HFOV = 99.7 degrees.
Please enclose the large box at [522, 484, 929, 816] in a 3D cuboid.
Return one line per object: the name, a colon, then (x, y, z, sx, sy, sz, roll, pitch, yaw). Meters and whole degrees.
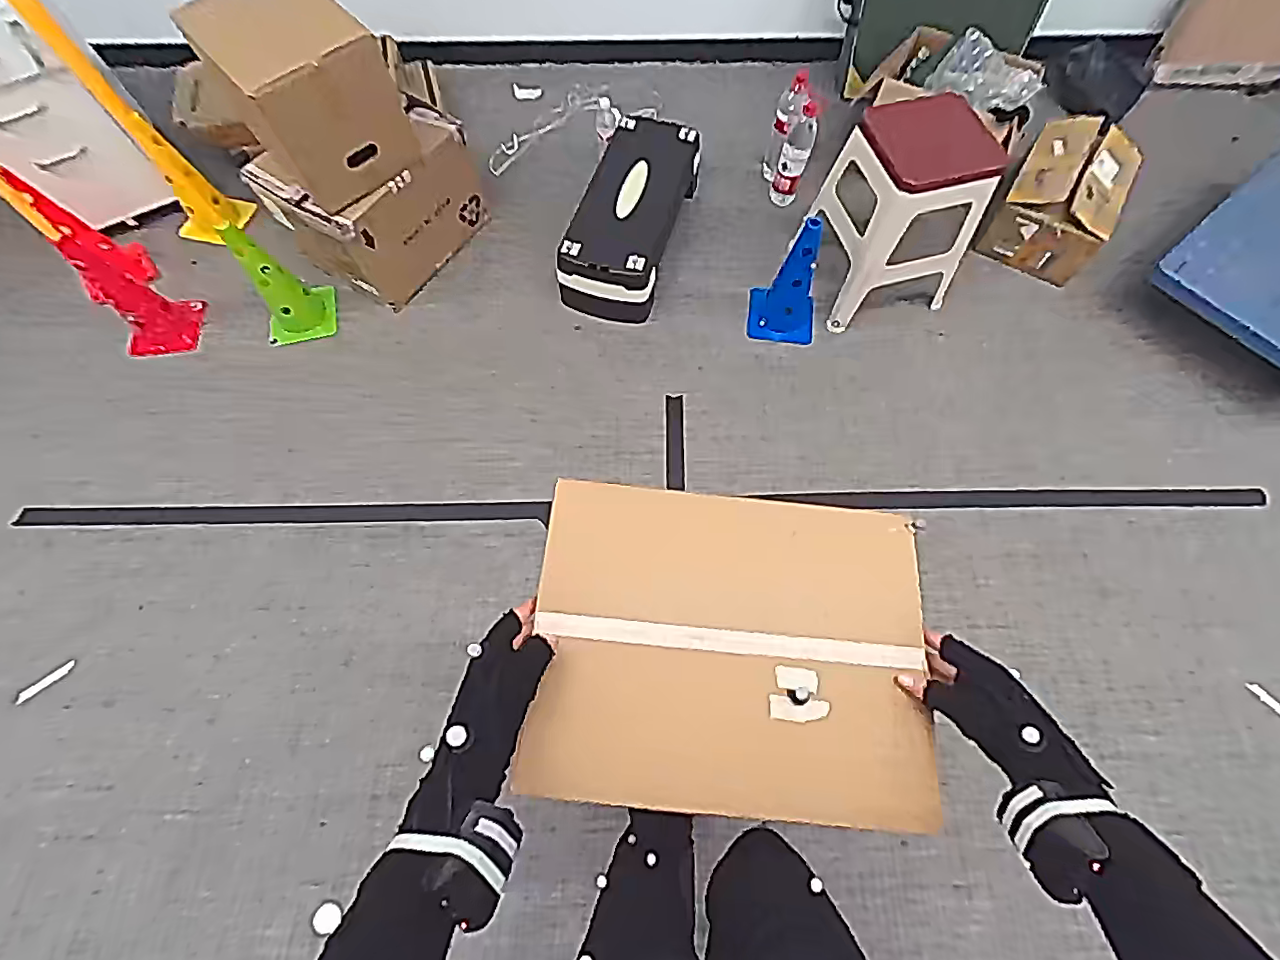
large box: (0.085, 0.217, 0.707, 0.408, 0.320, 0.320, 6, 70, -2)
